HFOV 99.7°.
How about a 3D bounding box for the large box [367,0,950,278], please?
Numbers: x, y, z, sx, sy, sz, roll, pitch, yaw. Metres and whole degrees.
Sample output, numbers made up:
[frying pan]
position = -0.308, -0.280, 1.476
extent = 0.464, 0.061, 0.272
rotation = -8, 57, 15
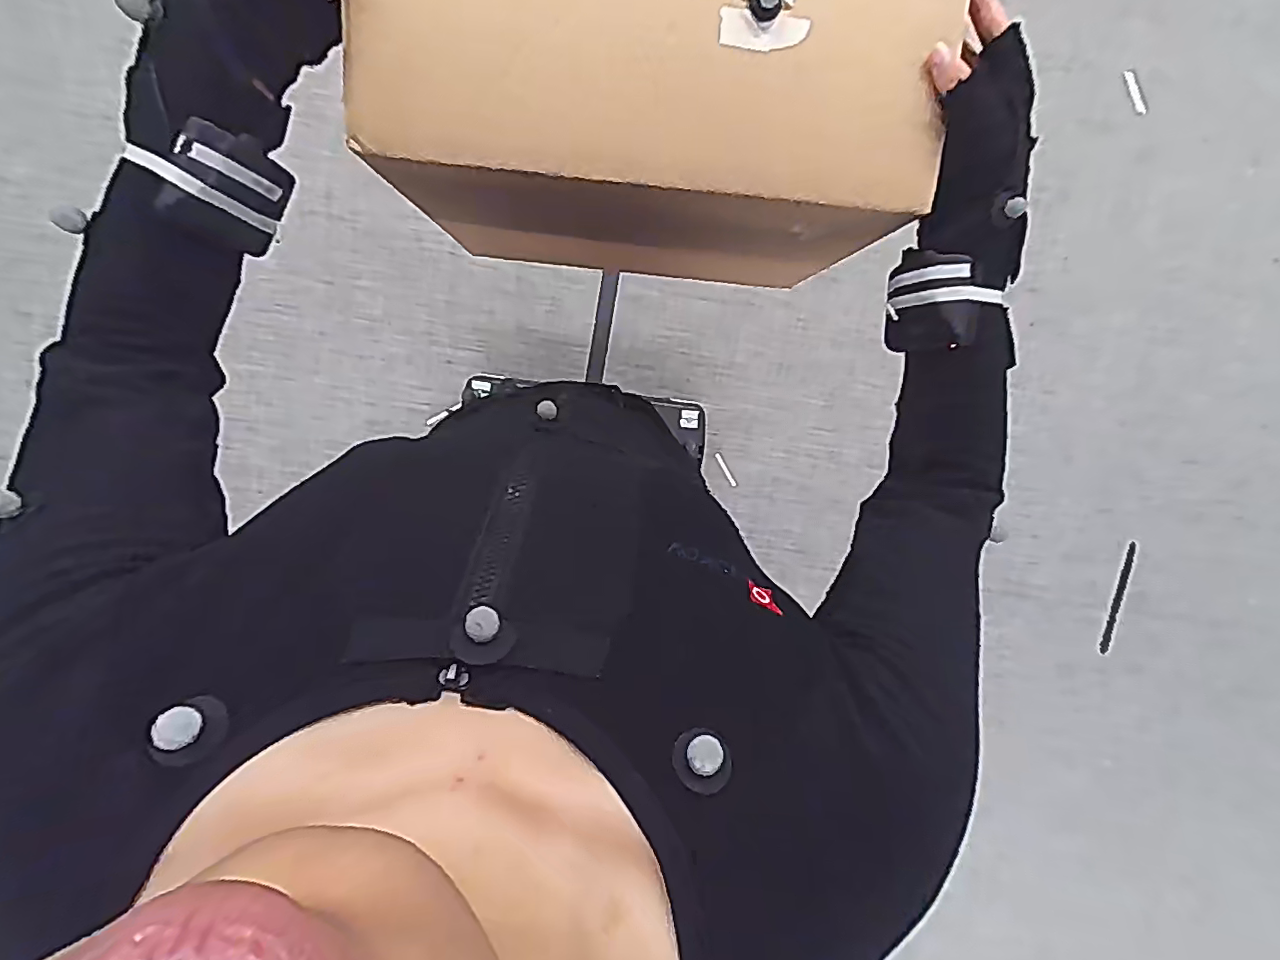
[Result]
[large box]
position = 0.011, -0.392, 0.506
extent = 0.408, 0.320, 0.320
rotation = 4, 101, -4

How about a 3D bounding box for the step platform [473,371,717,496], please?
[step platform]
position = -0.125, -0.133, 1.557
extent = 0.684, 0.204, 0.286
rotation = 6, 99, -5
